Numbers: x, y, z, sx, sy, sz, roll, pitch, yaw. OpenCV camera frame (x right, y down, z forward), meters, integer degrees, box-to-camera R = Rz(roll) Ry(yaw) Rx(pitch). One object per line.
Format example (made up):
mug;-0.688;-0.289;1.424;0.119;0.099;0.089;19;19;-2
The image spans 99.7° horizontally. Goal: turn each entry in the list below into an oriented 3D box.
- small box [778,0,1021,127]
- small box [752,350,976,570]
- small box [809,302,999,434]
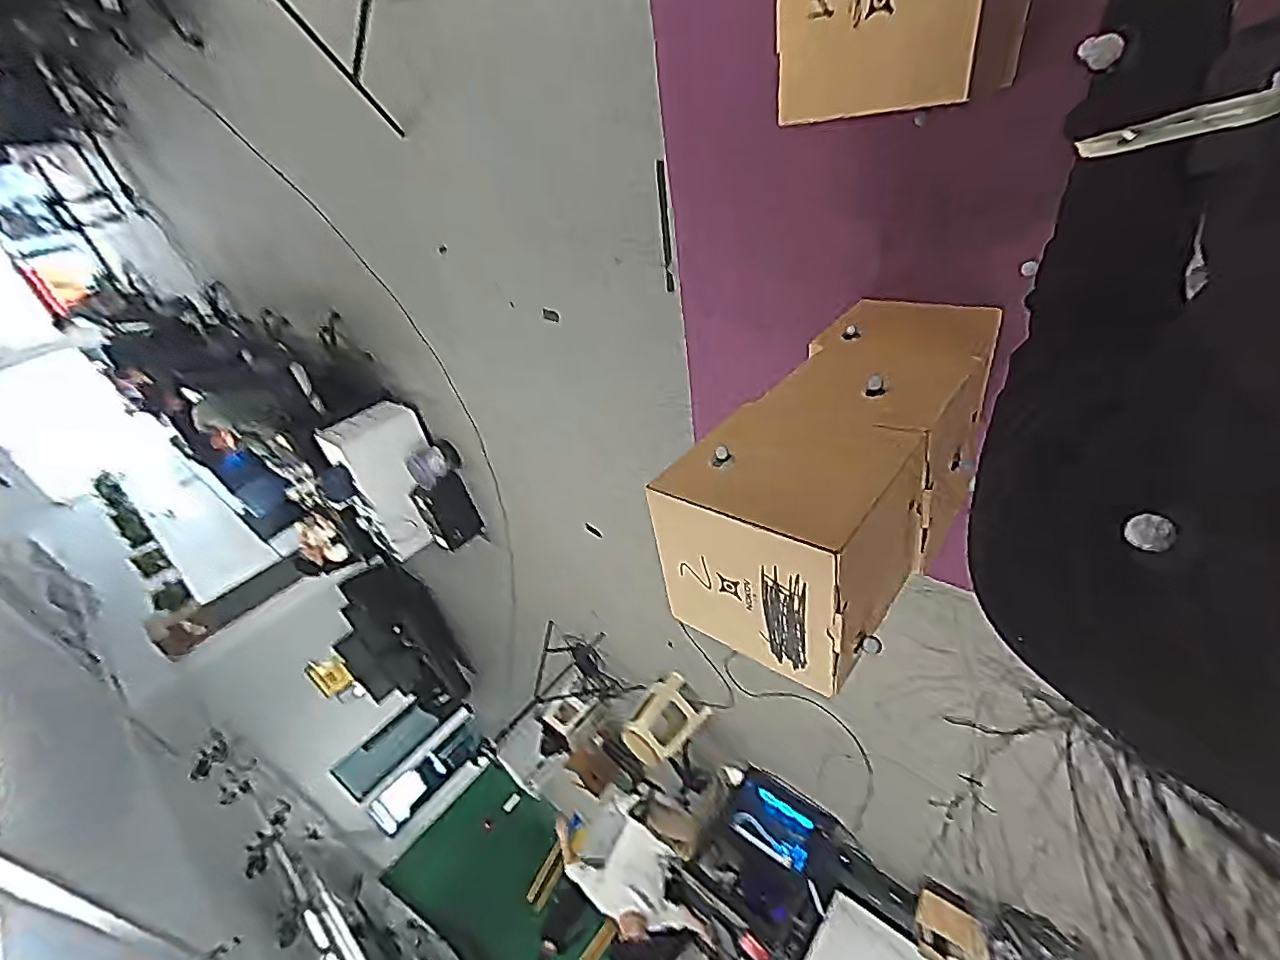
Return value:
small box;0.247;-0.446;0.505;0.179;0.176;0.168;20;135;37
small box;0.249;-0.035;0.596;0.179;0.176;0.168;15;132;40
small box;0.338;-0.122;0.704;0.179;0.176;0.168;20;135;37
